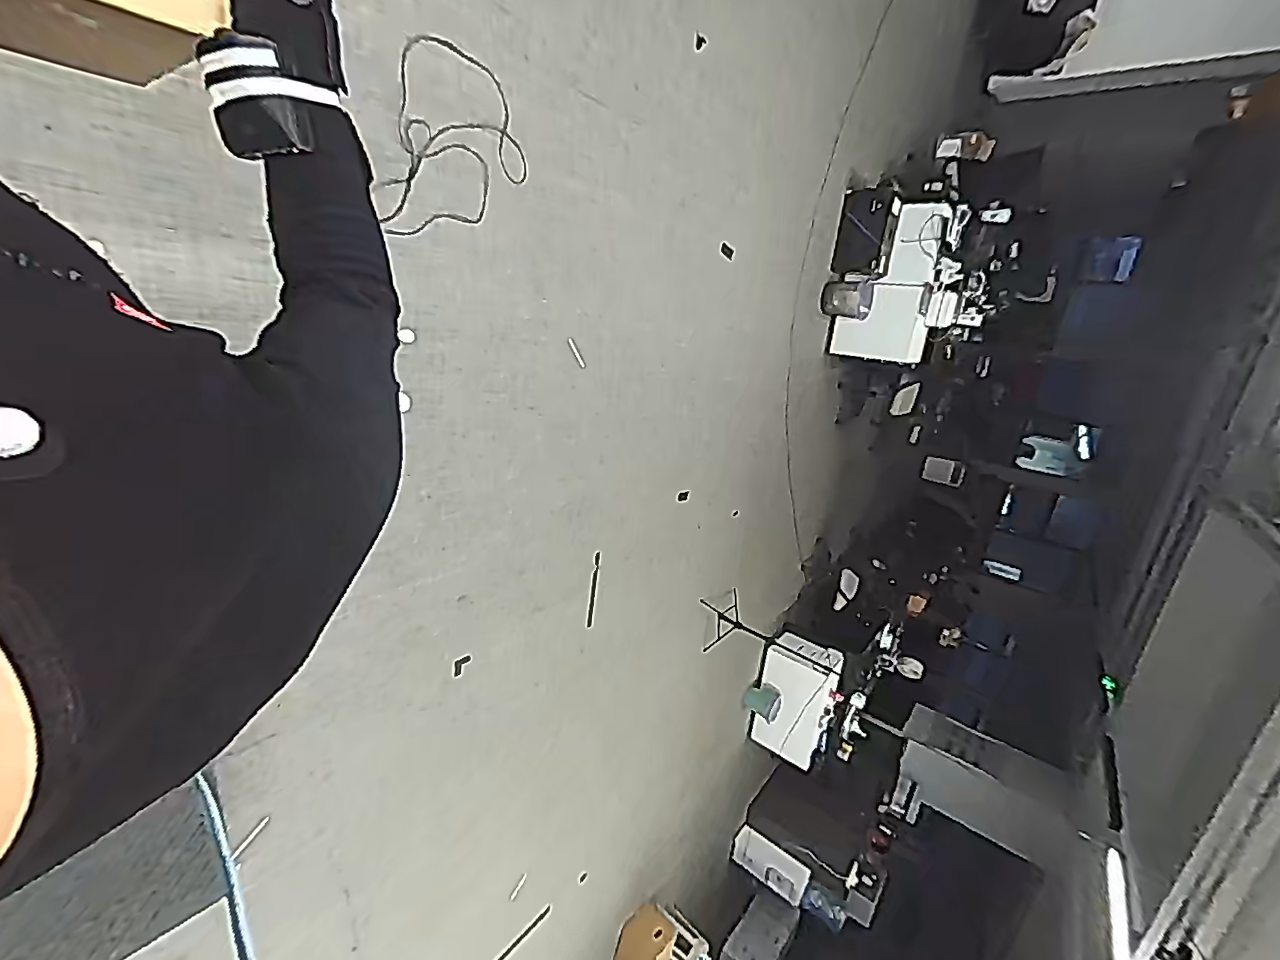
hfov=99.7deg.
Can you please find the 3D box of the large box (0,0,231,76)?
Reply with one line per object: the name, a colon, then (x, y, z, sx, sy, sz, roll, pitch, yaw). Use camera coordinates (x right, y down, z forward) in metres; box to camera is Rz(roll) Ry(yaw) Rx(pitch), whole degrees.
large box: (-0.503, -0.461, 0.262, 0.408, 0.320, 0.320, -15, 121, -47)
